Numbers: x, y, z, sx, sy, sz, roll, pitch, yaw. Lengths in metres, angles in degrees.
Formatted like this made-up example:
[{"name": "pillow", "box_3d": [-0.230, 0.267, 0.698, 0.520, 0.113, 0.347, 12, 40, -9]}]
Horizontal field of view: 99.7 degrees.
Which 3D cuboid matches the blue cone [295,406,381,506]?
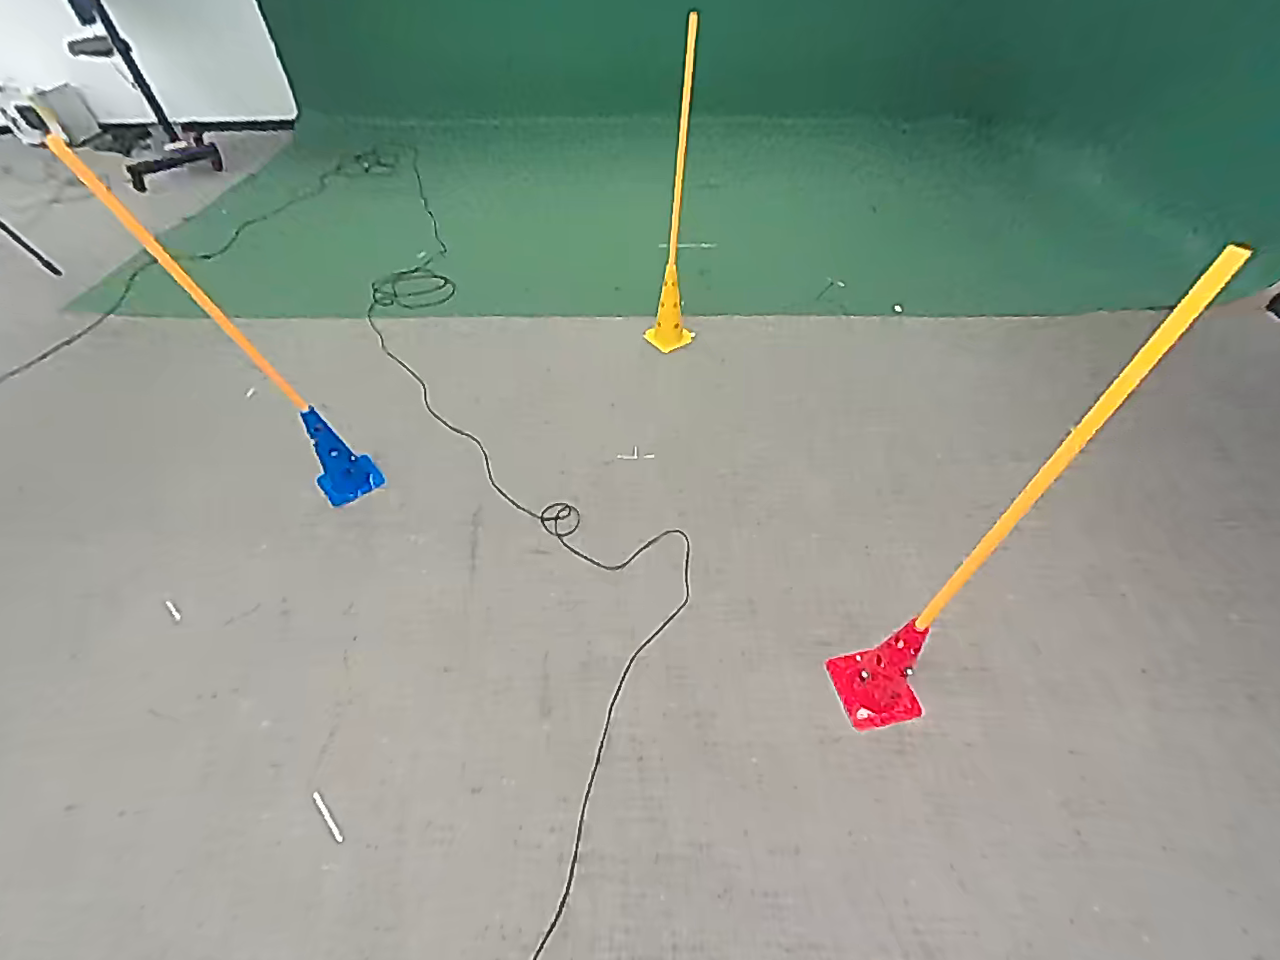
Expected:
[{"name": "blue cone", "box_3d": [-1.080, -0.101, 1.875, 0.193, 0.380, 0.192, -37, 58, -25]}]
